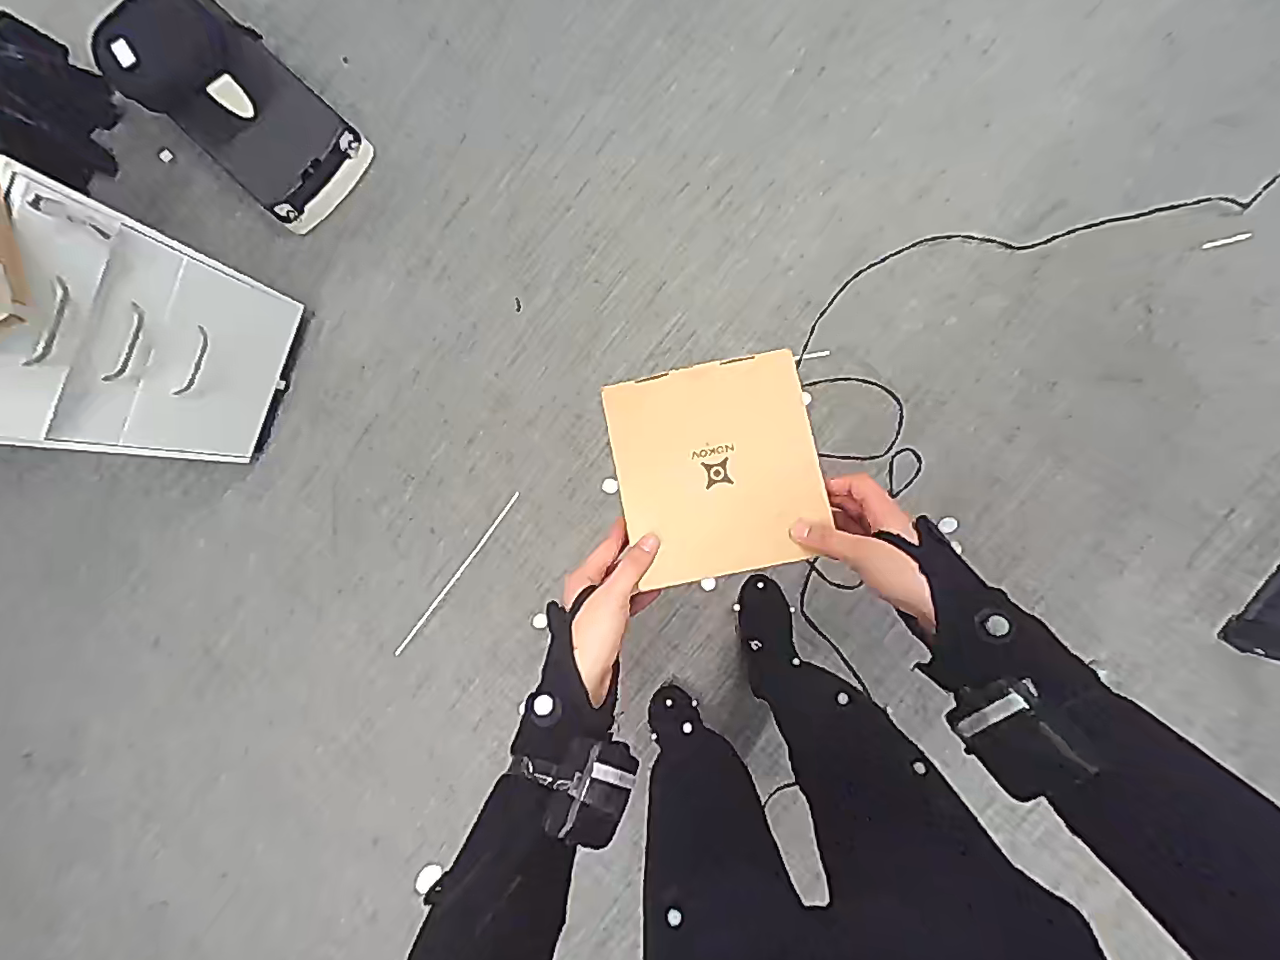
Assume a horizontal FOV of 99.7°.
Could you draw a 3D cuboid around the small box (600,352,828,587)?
[{"bbox_3d":[0.066,-0.001,0.534,0.168,0.176,0.179,-12,81,3],"label":"small box"}]
